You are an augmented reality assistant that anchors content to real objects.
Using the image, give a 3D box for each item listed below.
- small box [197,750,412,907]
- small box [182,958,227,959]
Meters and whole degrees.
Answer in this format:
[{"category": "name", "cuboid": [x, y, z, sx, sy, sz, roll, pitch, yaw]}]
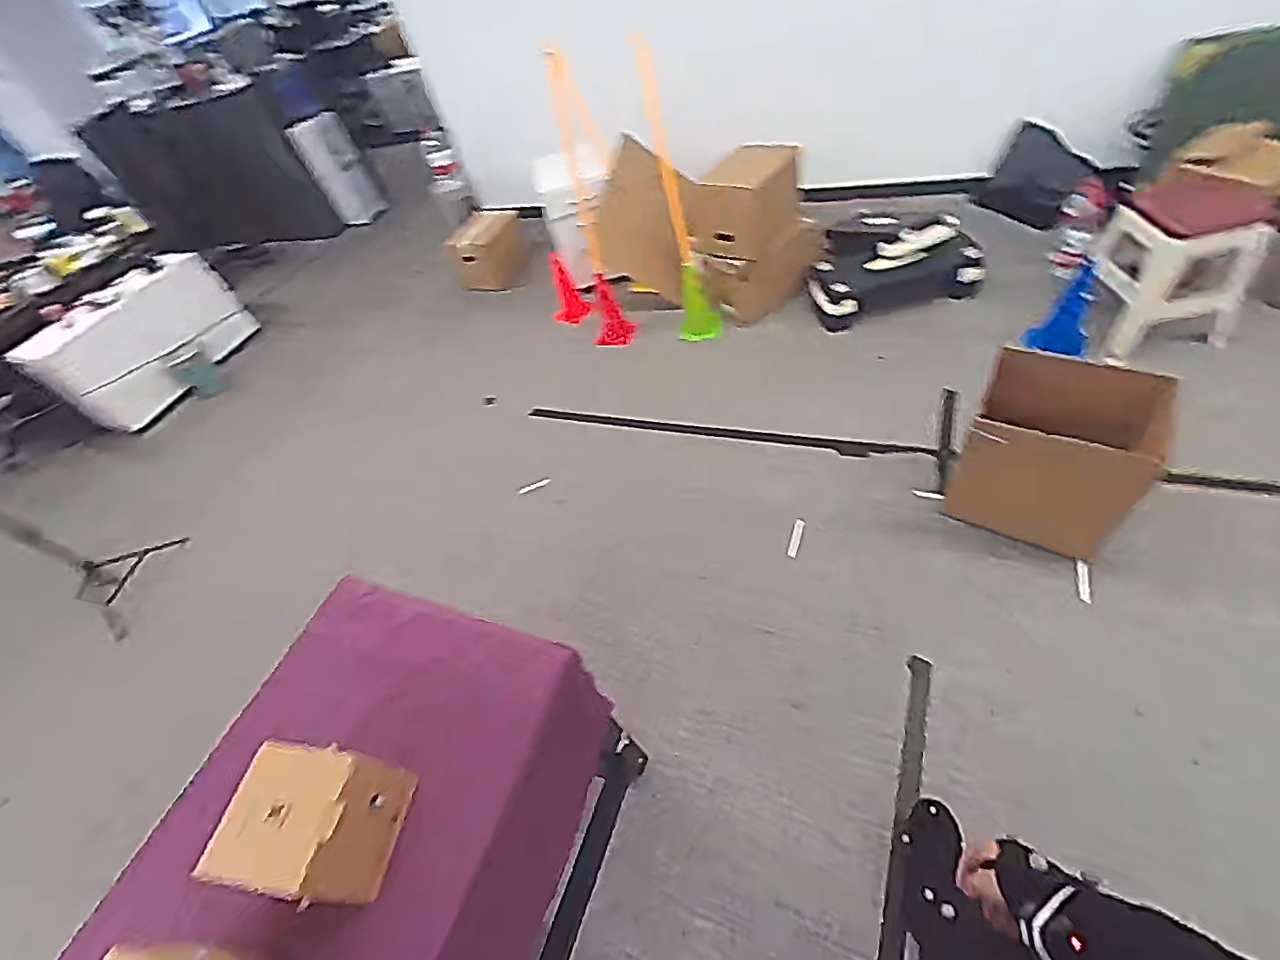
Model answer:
[{"category": "small box", "cuboid": [-0.479, 0.519, 0.806, 0.179, 0.176, 0.168, -2, 50, 16]}, {"category": "small box", "cuboid": [-0.581, 0.718, 0.668, 0.179, 0.176, 0.168, -1, 51, 18]}]
